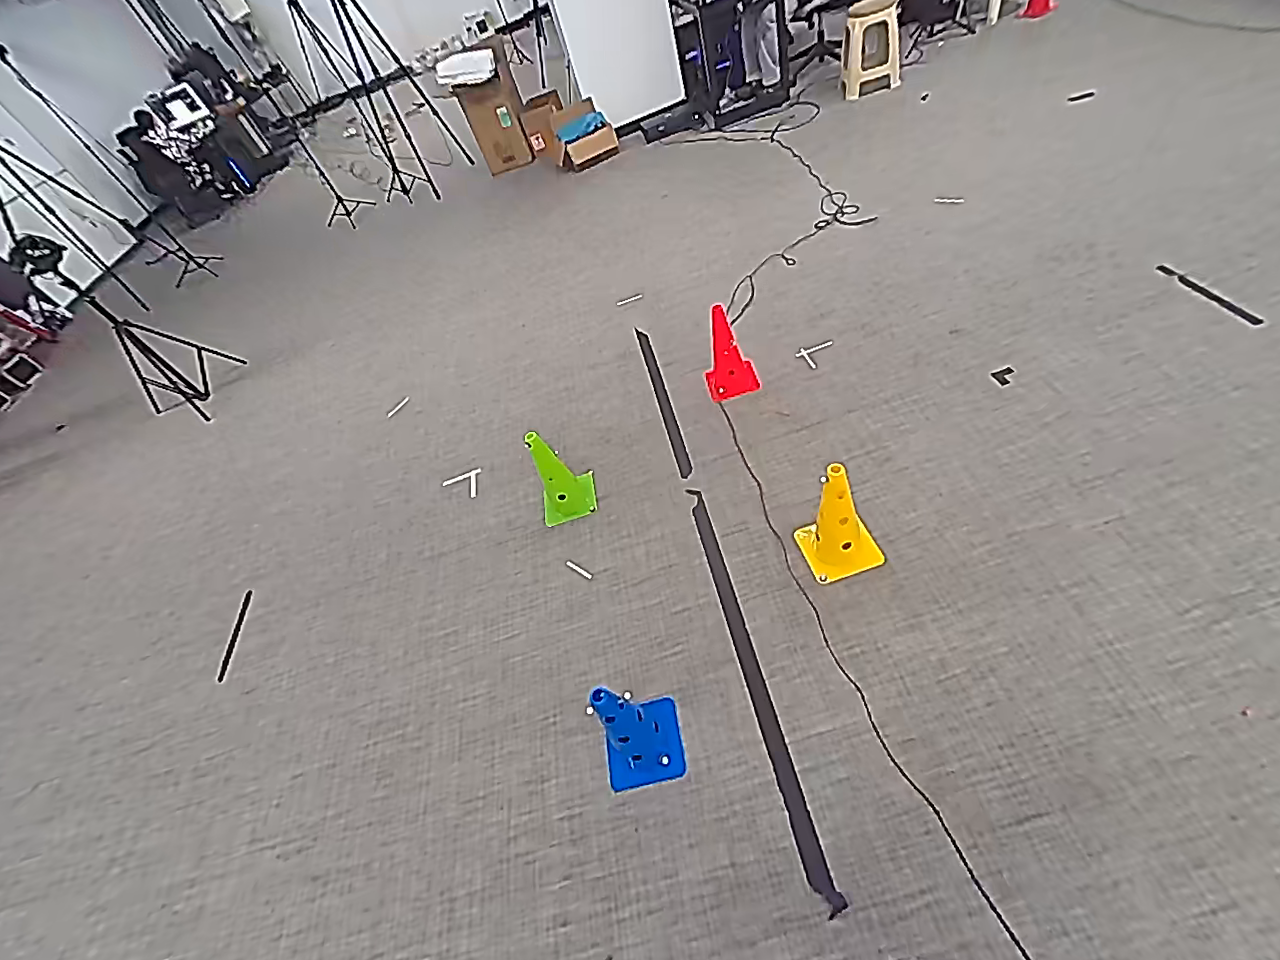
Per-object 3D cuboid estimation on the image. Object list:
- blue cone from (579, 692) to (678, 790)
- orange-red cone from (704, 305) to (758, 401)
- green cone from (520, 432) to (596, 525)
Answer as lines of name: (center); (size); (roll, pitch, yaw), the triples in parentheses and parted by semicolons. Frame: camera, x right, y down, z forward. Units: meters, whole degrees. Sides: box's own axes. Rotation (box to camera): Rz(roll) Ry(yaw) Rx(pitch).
blue cone: (-0.049, 0.583, 1.285); (0.192, 0.380, 0.193); (-17, 47, 8)
orange-red cone: (0.322, -0.511, 2.075); (0.199, 0.360, 0.198); (-15, 49, 7)
green cone: (-0.319, -0.038, 1.907); (0.202, 0.368, 0.200); (-19, 47, 6)
